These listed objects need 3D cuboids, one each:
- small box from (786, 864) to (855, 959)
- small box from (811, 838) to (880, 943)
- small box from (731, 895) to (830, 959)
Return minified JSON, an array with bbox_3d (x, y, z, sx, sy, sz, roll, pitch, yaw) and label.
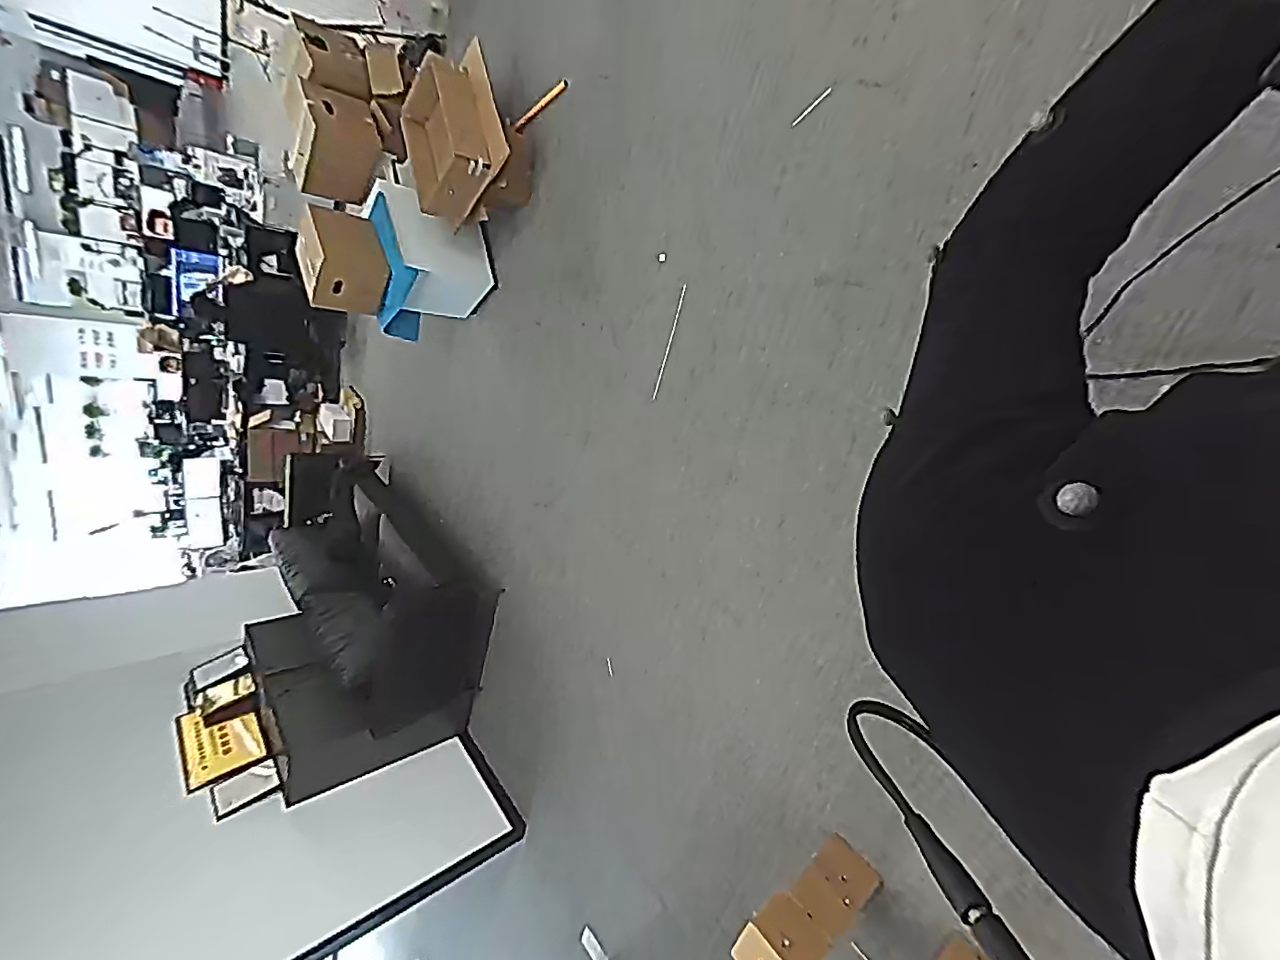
[{"bbox_3d":[0.518,1.314,1.626,0.168,0.176,0.179,37,119,38],"label":"small box"},{"bbox_3d":[0.636,1.310,1.740,0.179,0.176,0.168,36,118,39],"label":"small box"},{"bbox_3d":[0.395,1.320,1.520,0.179,0.176,0.168,36,118,38],"label":"small box"}]
